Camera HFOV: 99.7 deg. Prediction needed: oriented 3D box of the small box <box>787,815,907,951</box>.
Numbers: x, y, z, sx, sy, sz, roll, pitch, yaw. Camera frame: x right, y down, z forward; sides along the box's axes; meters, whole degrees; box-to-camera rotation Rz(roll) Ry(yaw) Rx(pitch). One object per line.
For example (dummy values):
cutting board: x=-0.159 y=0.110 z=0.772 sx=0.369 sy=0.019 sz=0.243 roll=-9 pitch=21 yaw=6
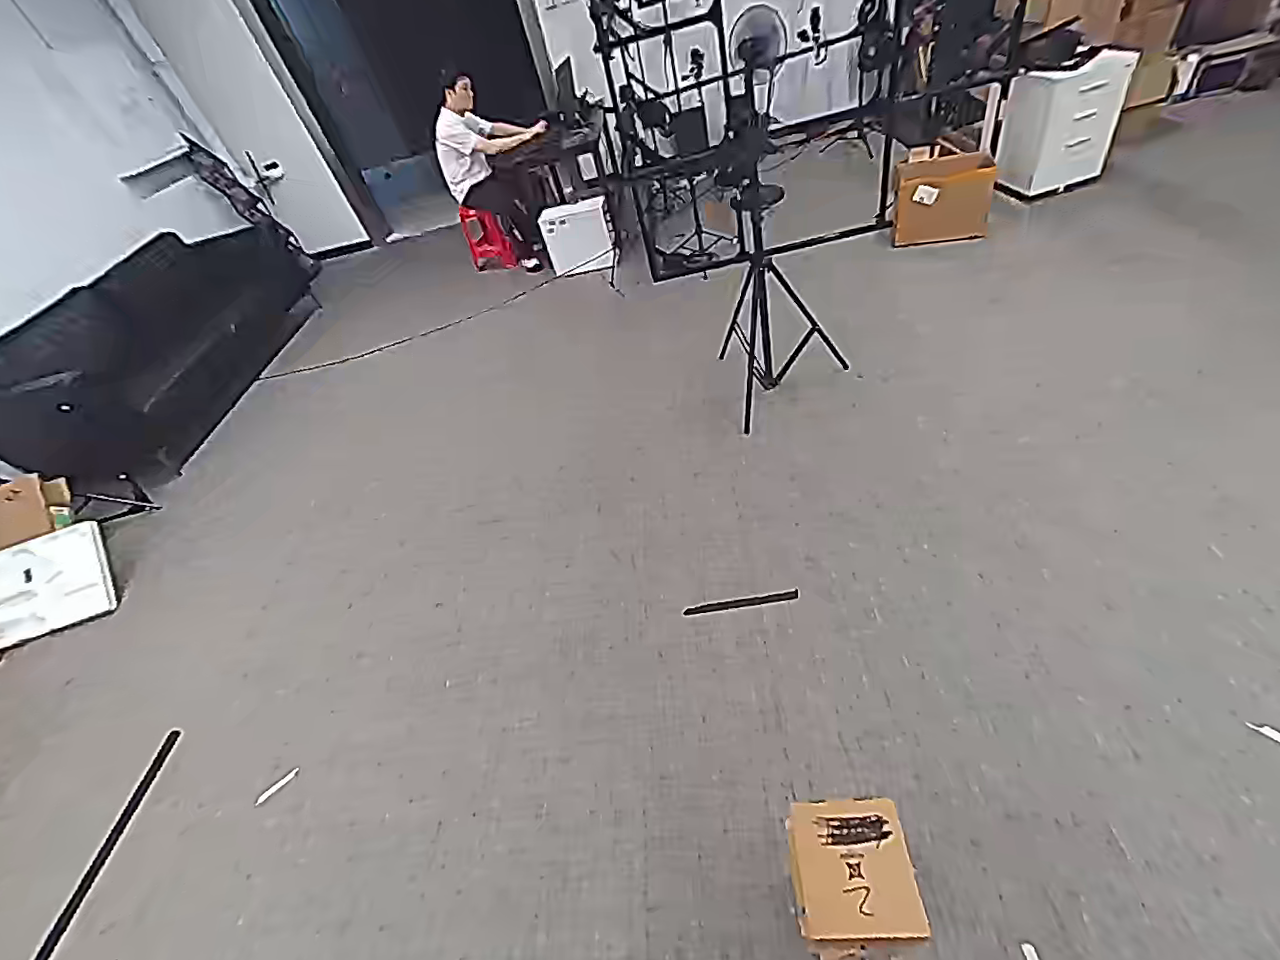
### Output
small box: x=0.367 y=0.740 z=0.992 sx=0.168 sy=0.176 sz=0.179 roll=-9 pitch=44 yaw=9

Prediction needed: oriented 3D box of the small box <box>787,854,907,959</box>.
small box: x=0.411 y=0.857 z=1.097 sx=0.168 sy=0.176 sz=0.179 roll=-18 pitch=43 yaw=1
